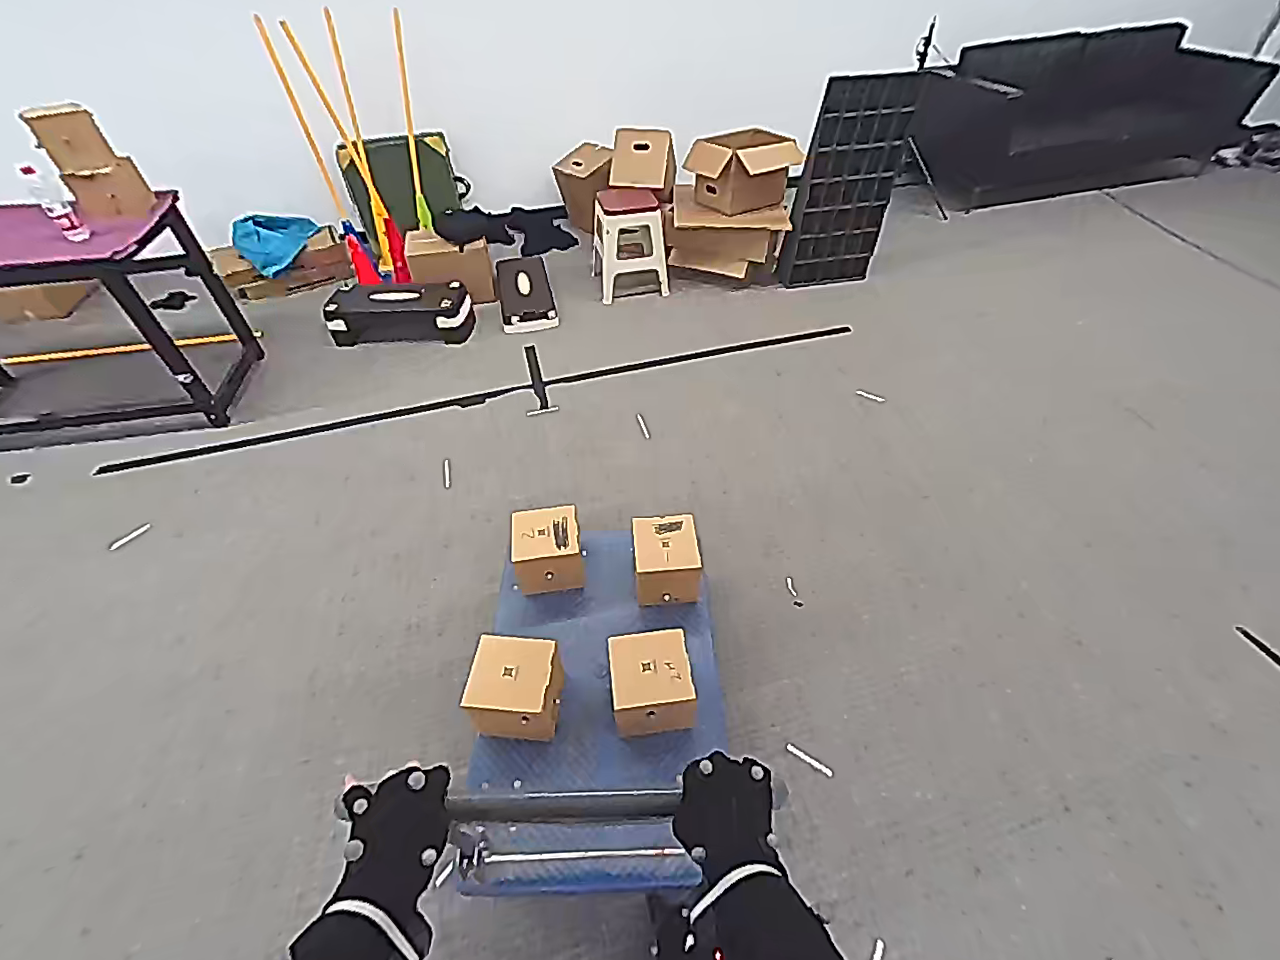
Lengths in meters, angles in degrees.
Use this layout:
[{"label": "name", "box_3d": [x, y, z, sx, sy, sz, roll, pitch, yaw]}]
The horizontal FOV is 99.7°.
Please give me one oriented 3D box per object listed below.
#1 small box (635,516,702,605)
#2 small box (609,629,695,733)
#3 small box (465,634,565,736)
[{"label": "small box", "box_3d": [0.072, 0.221, 1.477, 0.168, 0.176, 0.179, -4, 48, -2]}, {"label": "small box", "box_3d": [0.026, 0.466, 1.246, 0.179, 0.176, 0.168, -6, 47, -4]}, {"label": "small box", "box_3d": [-0.278, 0.474, 1.244, 0.179, 0.176, 0.168, 4, 46, 3]}]
